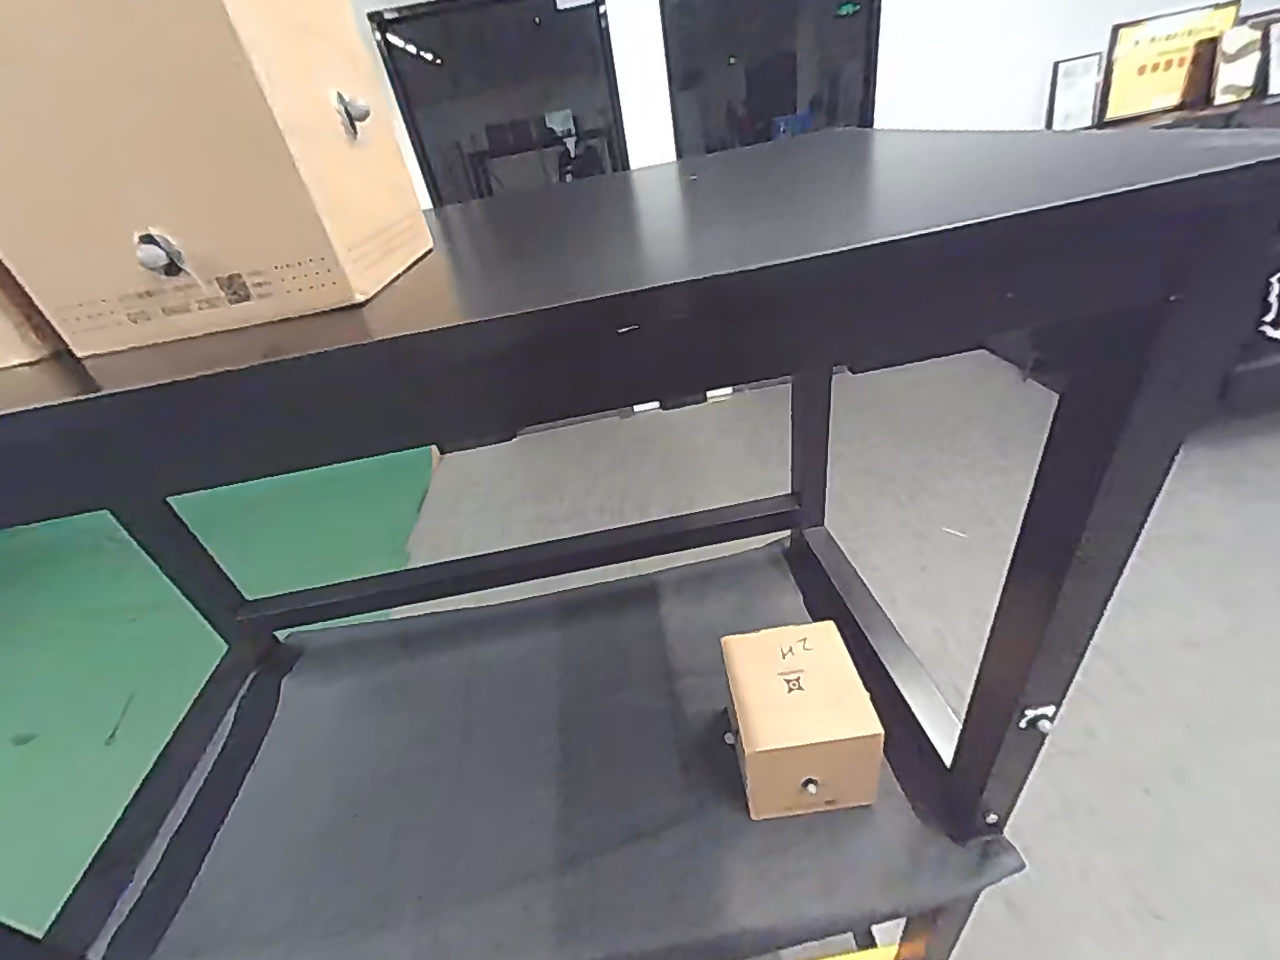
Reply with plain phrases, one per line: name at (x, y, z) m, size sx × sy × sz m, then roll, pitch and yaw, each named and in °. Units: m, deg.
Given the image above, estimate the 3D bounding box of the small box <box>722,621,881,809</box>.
small box at (0.213, 0.327, 0.746) m, size 0.168 × 0.176 × 0.179 m, roll -9°, pitch 33°, yaw 3°
